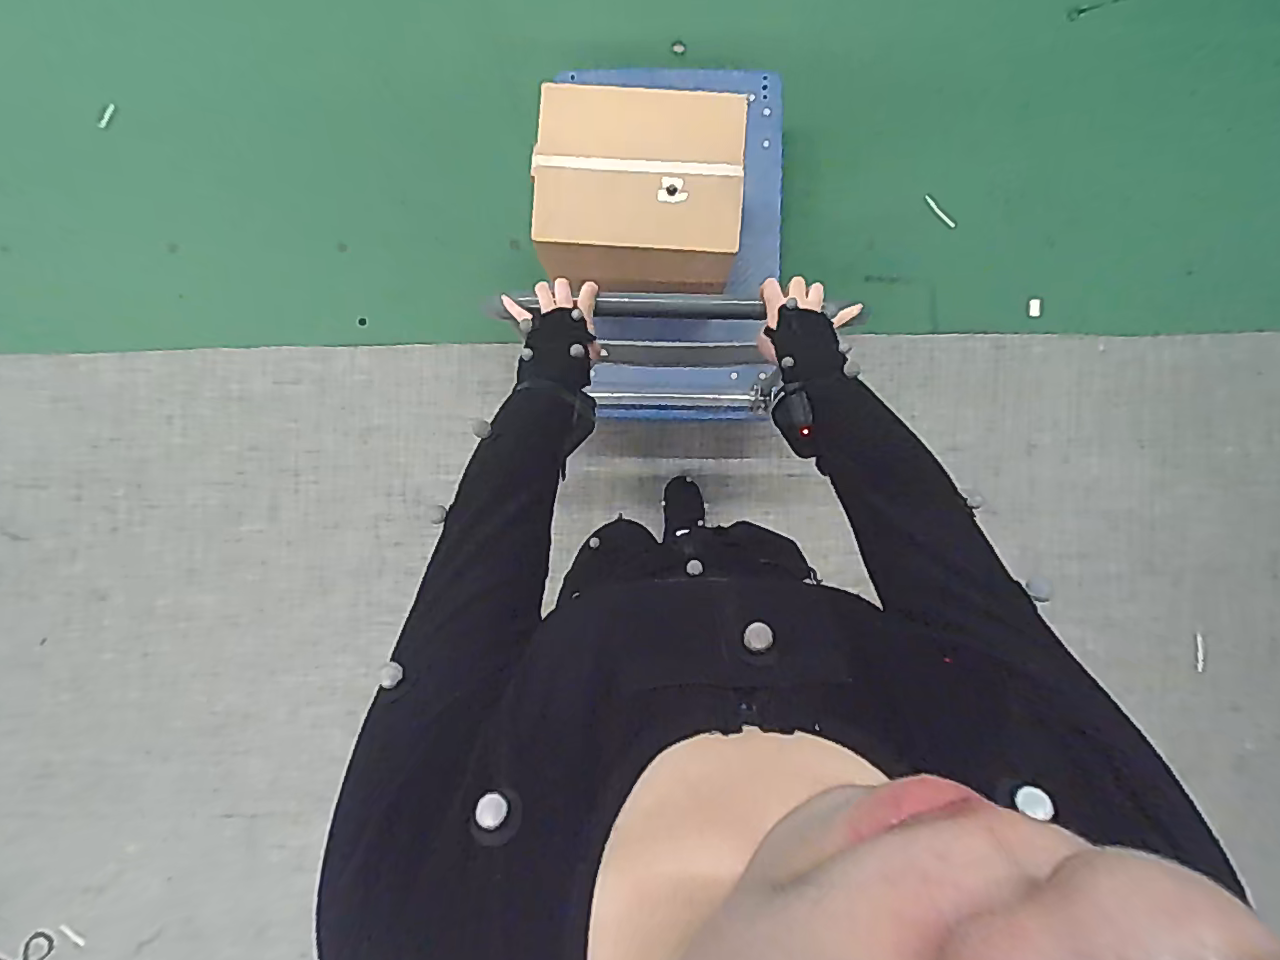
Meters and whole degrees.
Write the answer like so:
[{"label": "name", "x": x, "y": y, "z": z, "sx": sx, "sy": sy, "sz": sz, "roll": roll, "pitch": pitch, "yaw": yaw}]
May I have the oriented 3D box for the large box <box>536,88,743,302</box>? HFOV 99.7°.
[{"label": "large box", "x": -0.002, "y": -0.610, "z": 1.211, "sx": 0.408, "sy": 0.320, "sz": 0.320, "roll": 3, "pitch": 89, "yaw": 0}]
